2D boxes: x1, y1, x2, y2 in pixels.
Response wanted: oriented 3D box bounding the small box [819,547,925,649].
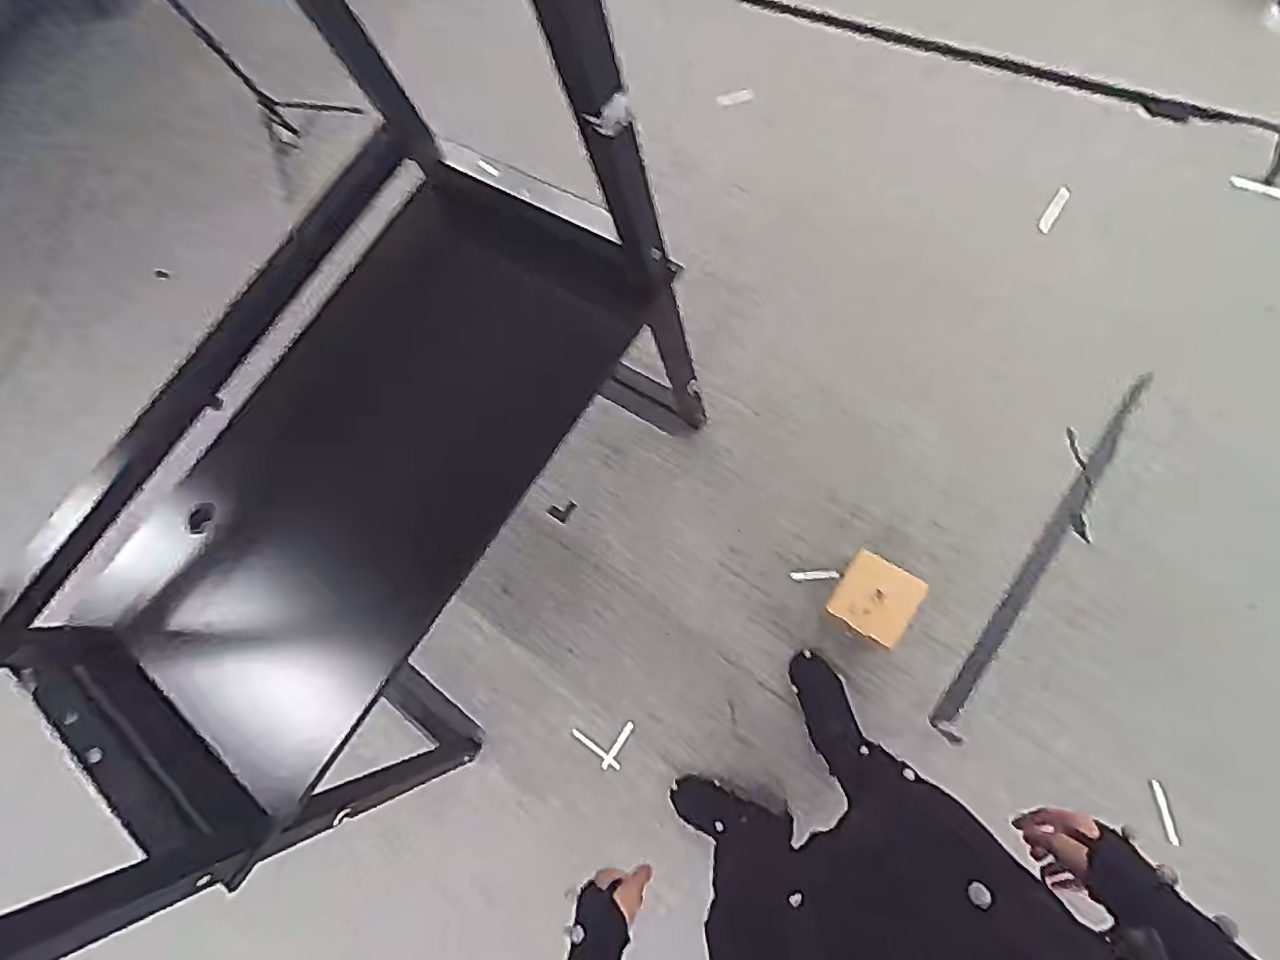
[{"bbox_3d":[0.557,0.289,1.326,0.168,0.176,0.179,32,84,18],"label":"small box"}]
